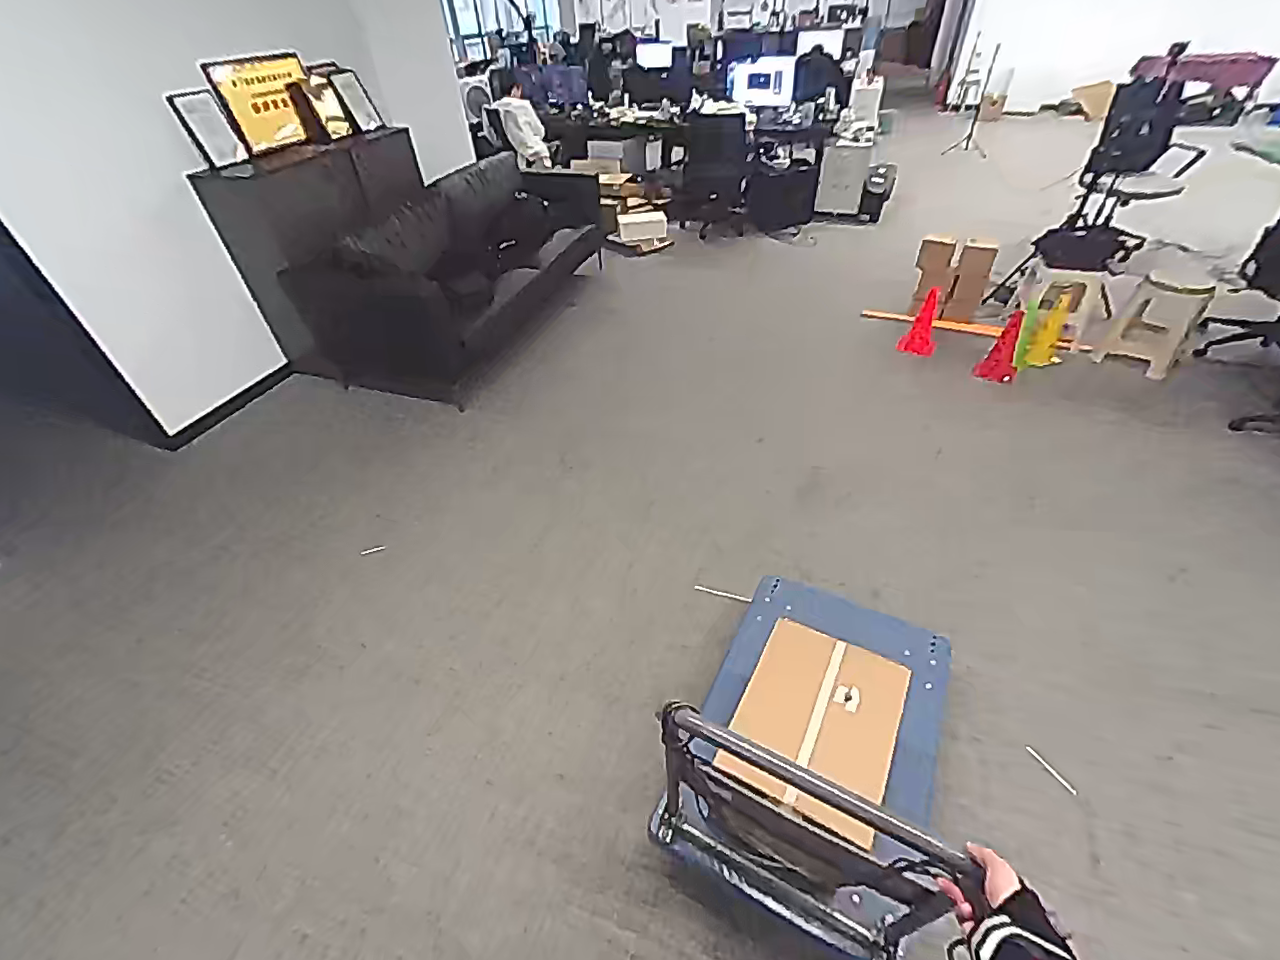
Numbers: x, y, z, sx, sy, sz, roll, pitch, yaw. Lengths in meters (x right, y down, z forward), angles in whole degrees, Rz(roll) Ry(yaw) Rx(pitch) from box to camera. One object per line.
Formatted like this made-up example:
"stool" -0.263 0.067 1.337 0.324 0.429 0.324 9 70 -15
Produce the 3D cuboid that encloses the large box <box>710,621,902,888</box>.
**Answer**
"large box" 0.382 0.626 1.269 0.320 0.320 0.408 20 45 24
